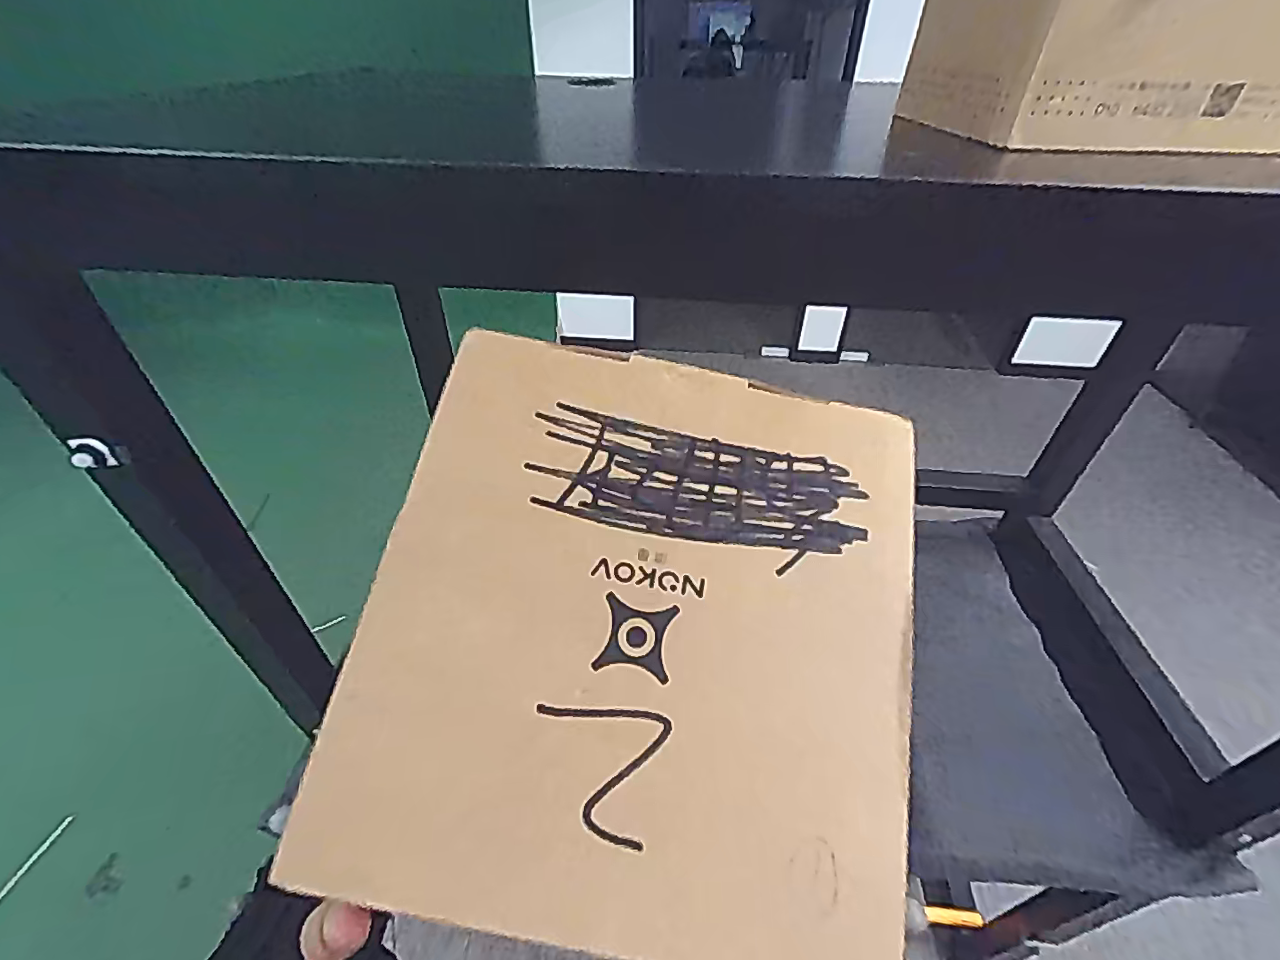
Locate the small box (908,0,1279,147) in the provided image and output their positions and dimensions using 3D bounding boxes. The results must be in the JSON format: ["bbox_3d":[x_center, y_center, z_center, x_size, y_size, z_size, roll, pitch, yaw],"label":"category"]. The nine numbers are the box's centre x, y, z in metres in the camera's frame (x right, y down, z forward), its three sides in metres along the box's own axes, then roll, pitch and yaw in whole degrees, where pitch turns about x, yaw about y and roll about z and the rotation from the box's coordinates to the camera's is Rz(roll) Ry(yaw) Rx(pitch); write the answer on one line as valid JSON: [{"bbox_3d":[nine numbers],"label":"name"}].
[{"bbox_3d":[0.282,-0.294,0.302,0.168,0.176,0.179,1,39,1],"label":"small box"}]
